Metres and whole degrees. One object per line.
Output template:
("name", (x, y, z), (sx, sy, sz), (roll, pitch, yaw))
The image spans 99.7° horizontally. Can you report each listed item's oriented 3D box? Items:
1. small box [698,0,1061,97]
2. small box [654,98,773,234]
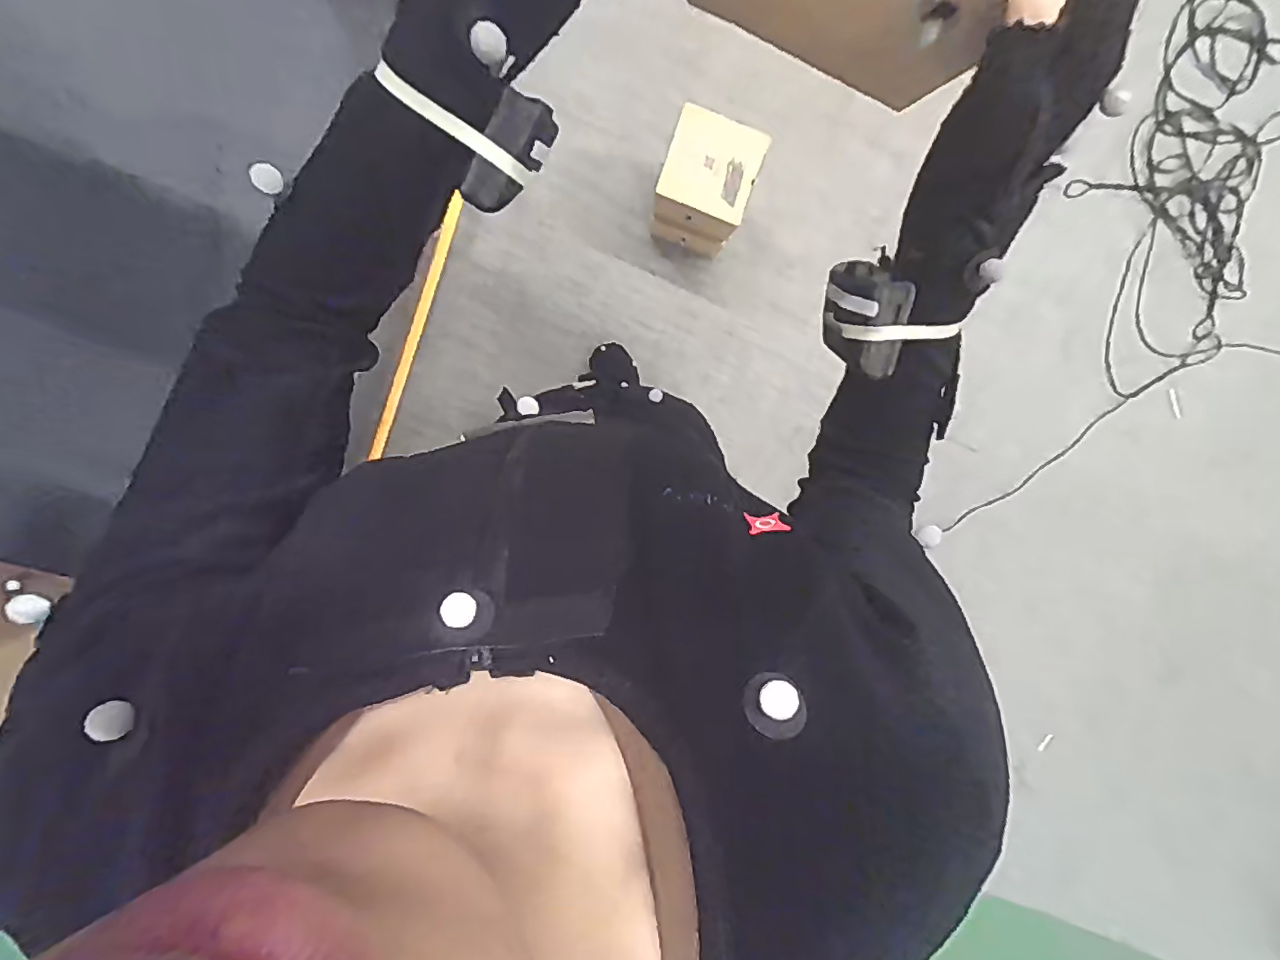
("small box", (0.130, -0.326, 0.265), (0.179, 0.176, 0.168), (22, 114, -7))
("small box", (0.137, -0.612, 1.082), (0.179, 0.176, 0.168), (20, 103, -5))
